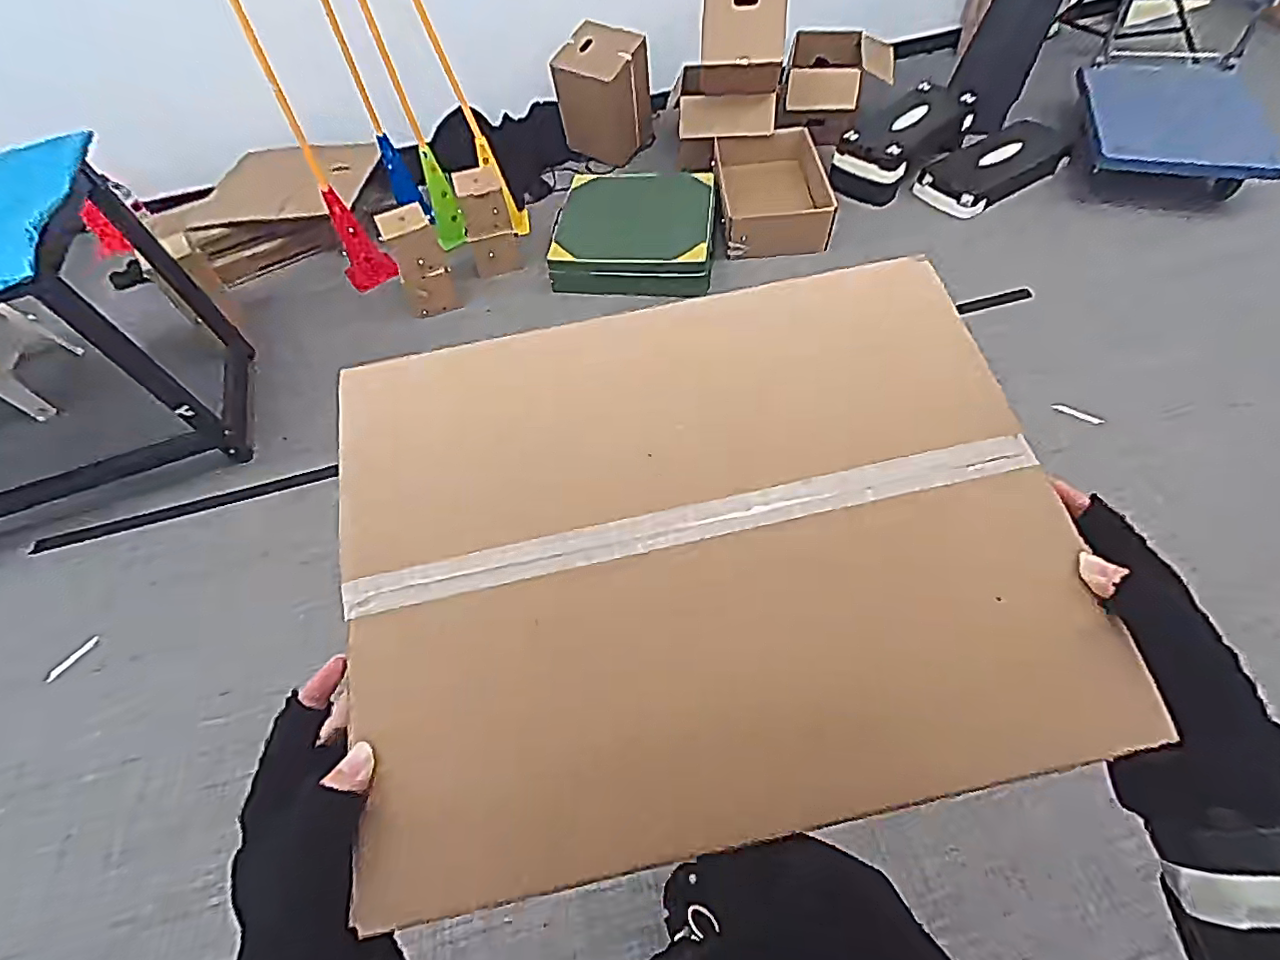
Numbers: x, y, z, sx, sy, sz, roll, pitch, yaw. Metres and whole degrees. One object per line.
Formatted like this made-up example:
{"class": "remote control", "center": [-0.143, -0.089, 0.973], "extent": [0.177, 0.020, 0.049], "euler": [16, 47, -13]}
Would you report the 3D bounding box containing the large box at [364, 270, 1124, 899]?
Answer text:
{"class": "large box", "center": [0.038, 0.082, 0.469], "extent": [0.408, 0.320, 0.320], "euler": [-12, 69, -2]}
